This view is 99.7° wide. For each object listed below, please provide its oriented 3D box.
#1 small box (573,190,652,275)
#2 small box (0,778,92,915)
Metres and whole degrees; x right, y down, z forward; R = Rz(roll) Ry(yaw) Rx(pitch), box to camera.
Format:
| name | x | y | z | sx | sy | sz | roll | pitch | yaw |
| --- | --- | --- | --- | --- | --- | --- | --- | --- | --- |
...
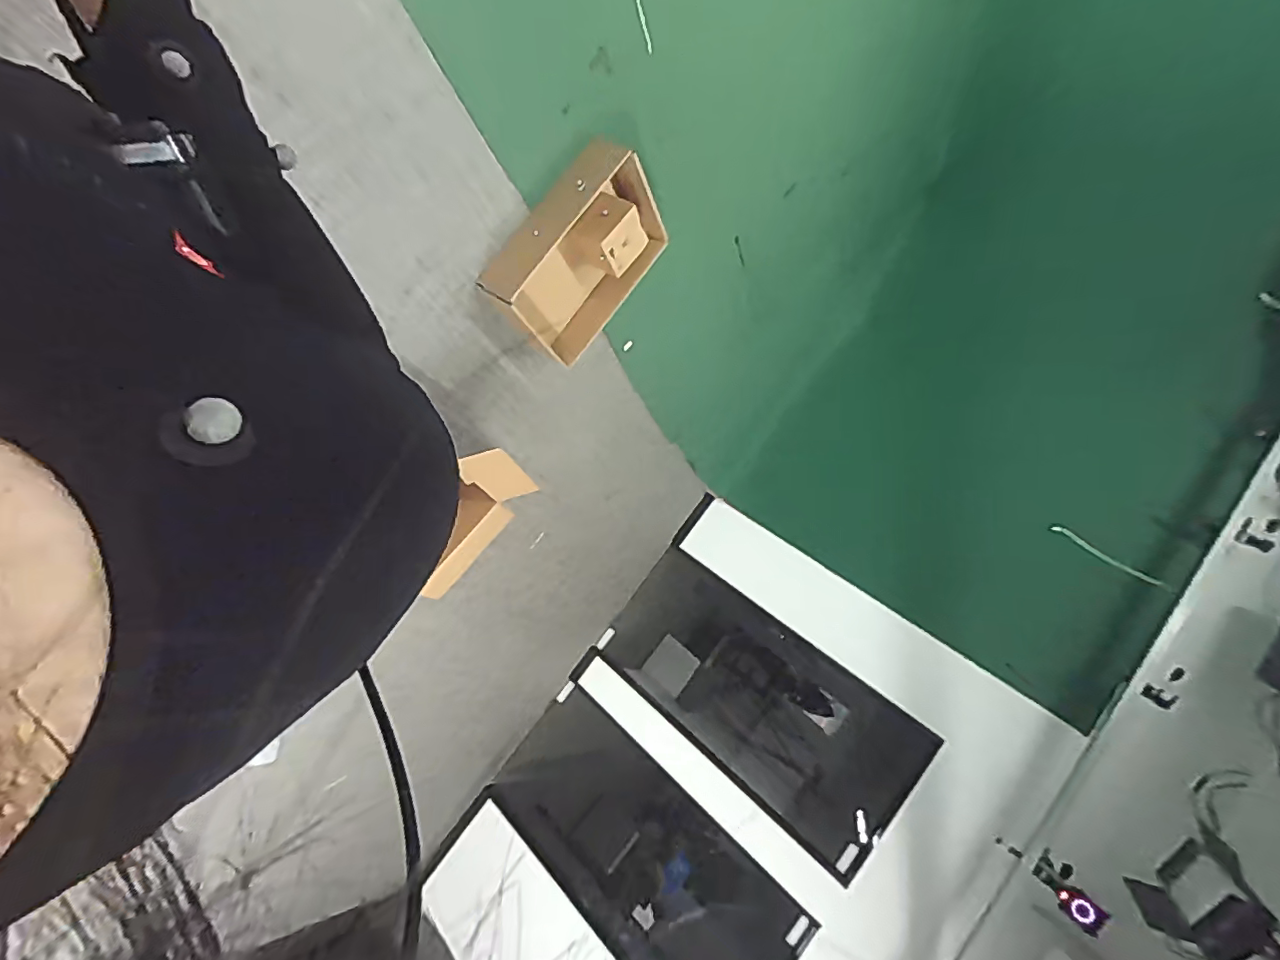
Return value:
| name | x | y | z | sx | sy | sz | roll | pitch | yaw |
| --- | --- | --- | --- | --- | --- | --- | --- | --- | --- |
| small box | -0.092 | -0.833 | 1.815 | 0.179 | 0.176 | 0.168 | -52 | 153 | -5 |
| small box | -1.295 | 0.759 | 1.116 | 0.179 | 0.176 | 0.168 | 12 | 108 | -60 |
